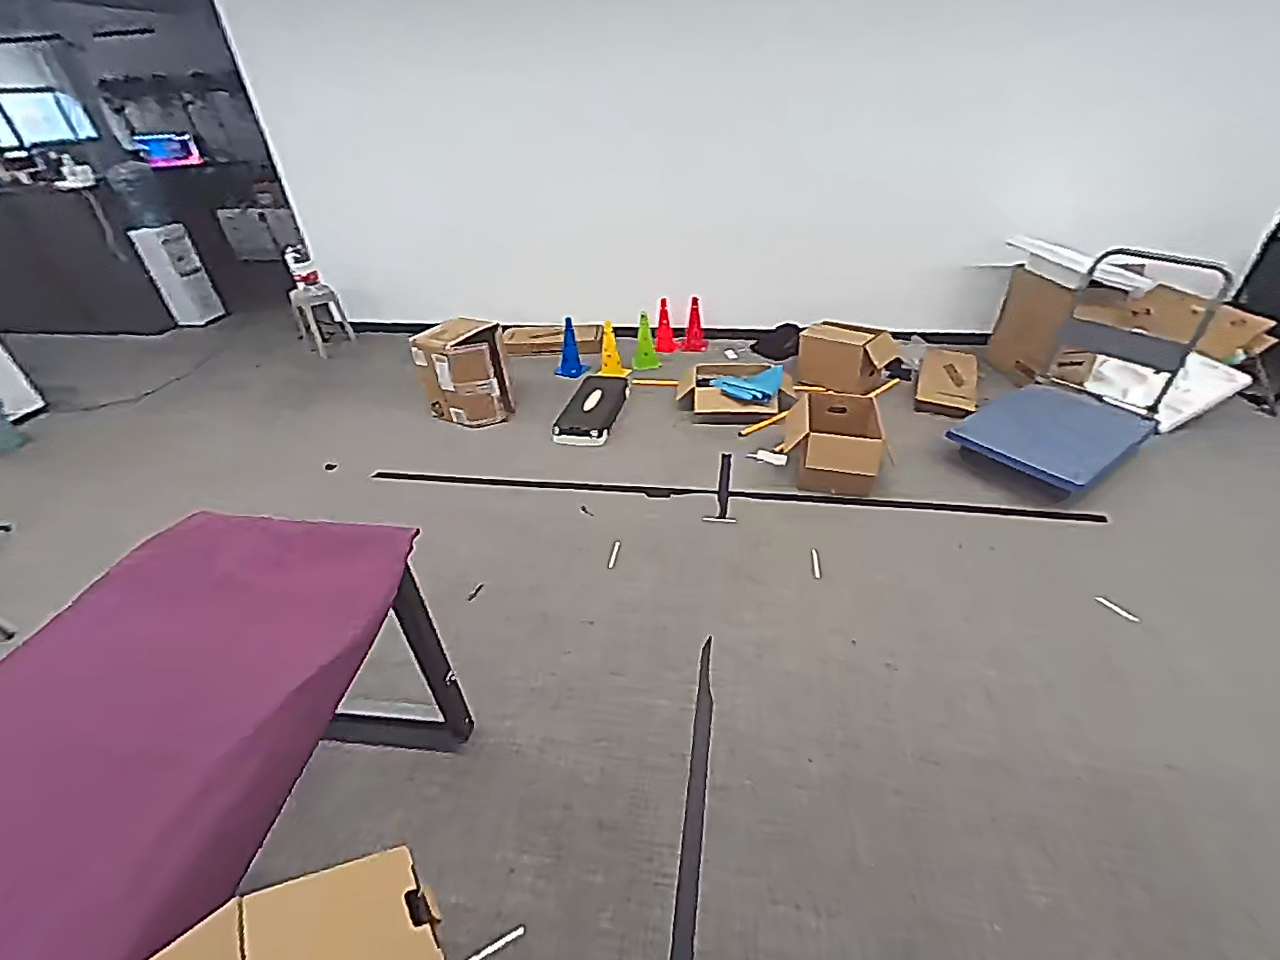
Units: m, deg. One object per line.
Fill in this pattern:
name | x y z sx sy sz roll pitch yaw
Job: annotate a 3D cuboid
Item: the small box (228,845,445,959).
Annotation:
small box | -0.333 0.548 0.575 0.179 0.176 0.168 9 15 -41
